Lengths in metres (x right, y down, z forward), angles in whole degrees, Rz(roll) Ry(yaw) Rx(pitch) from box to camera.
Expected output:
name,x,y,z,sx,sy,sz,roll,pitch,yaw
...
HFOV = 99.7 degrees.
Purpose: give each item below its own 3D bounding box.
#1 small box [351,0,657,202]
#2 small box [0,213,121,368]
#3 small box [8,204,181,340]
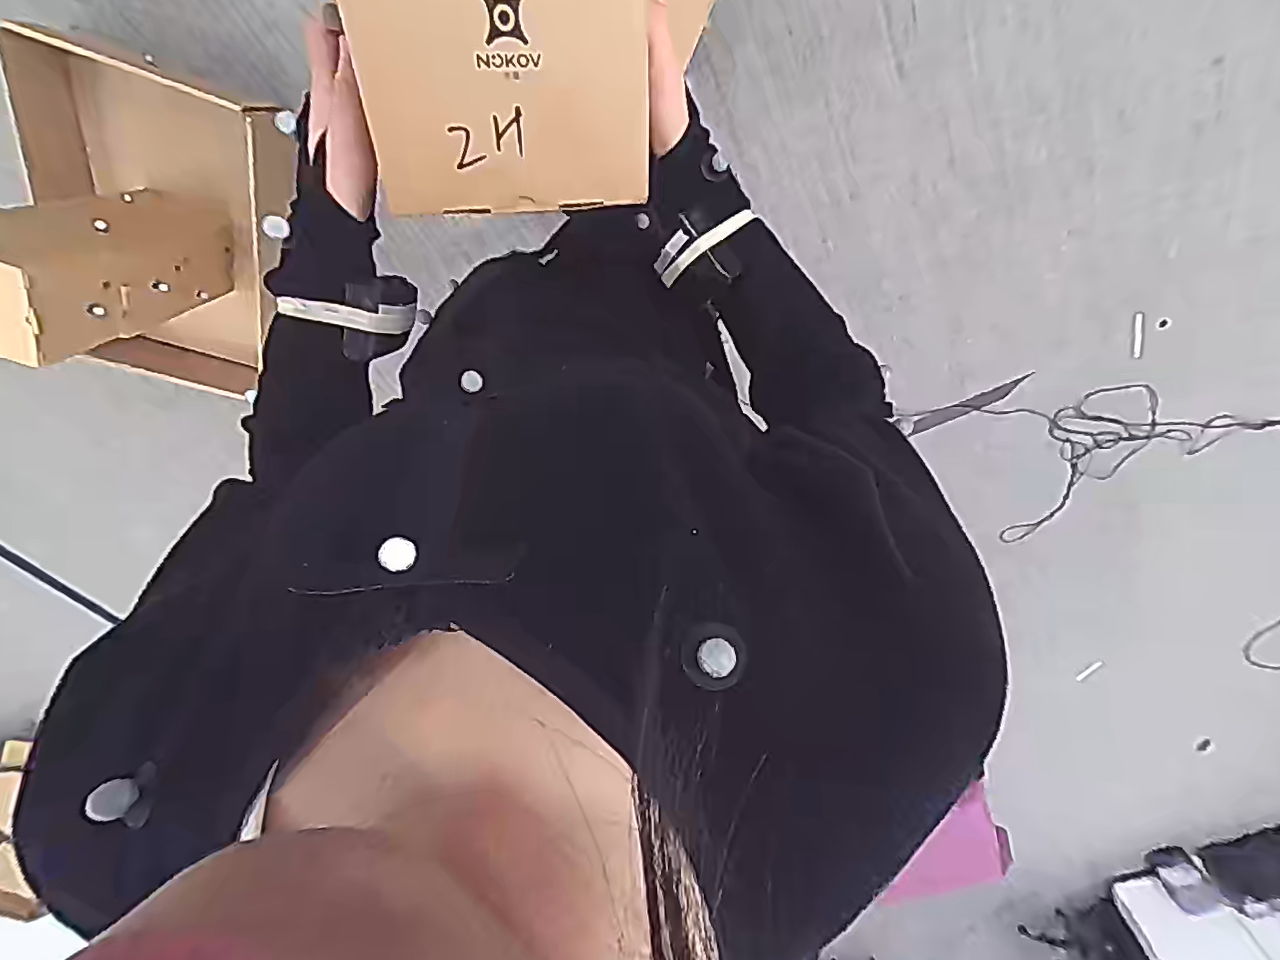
name,x,y,z,sx,sy,sz,roll,pitch,yaw
small box,-0.089,-0.296,0.360,0.168,0.176,0.179,-8,127,-11
small box,-0.995,-0.308,0.862,0.179,0.176,0.168,18,120,-14
small box,-0.996,-0.391,1.003,0.179,0.176,0.168,19,120,-15
